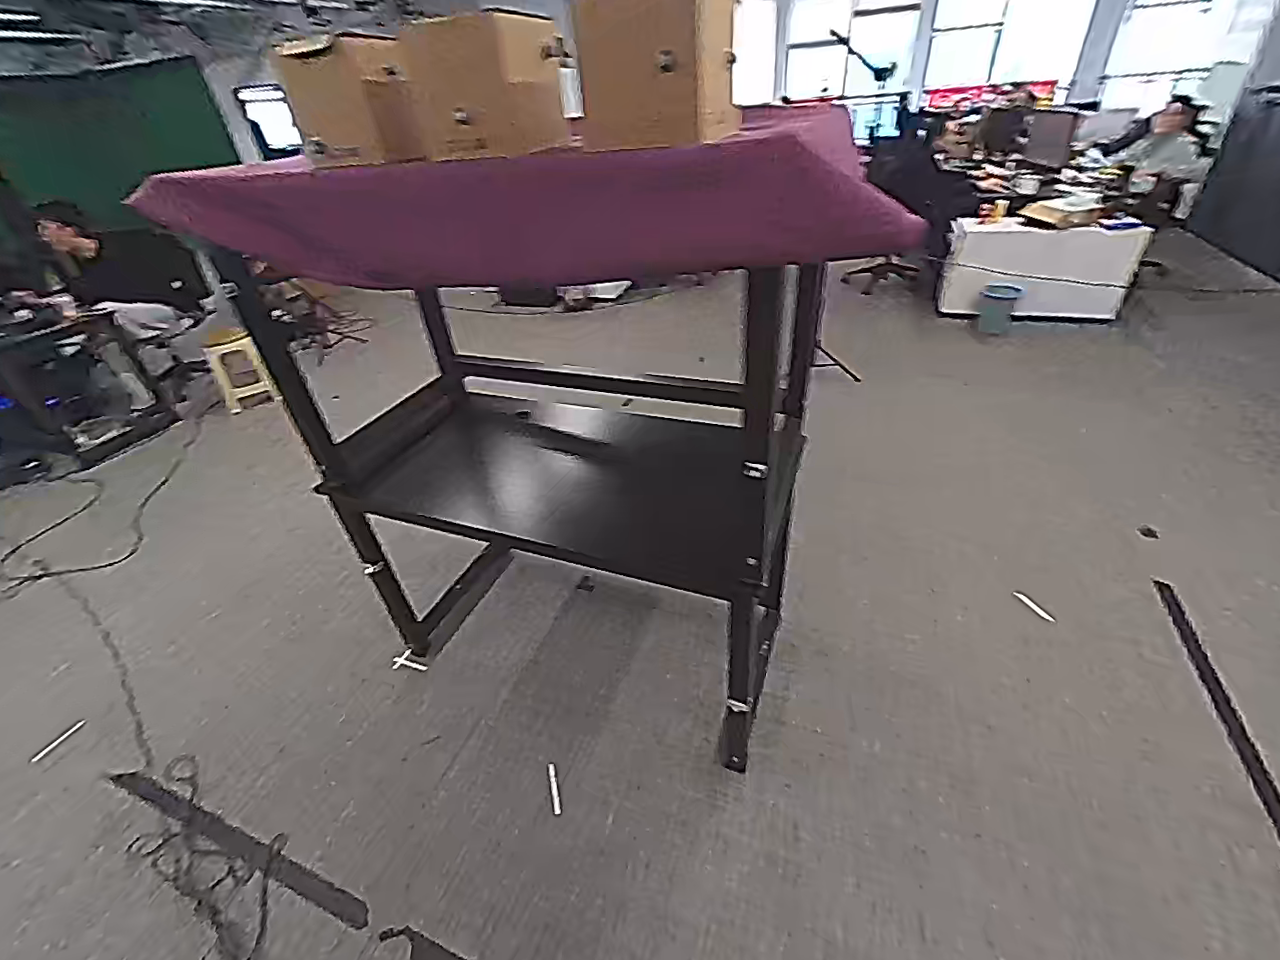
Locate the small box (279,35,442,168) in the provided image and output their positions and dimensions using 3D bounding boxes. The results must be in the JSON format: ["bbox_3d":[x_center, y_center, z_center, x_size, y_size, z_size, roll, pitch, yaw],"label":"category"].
[{"bbox_3d":[-0.454,-0.638,0.925,0.168,0.176,0.179,9,37,19],"label":"small box"}]

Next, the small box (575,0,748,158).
[{"bbox_3d":[0.038,-0.539,0.721,0.179,0.176,0.168,10,37,23],"label":"small box"}]

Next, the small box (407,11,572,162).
[{"bbox_3d":[-0.215,-0.594,0.831,0.168,0.176,0.179,9,37,19],"label":"small box"}]
